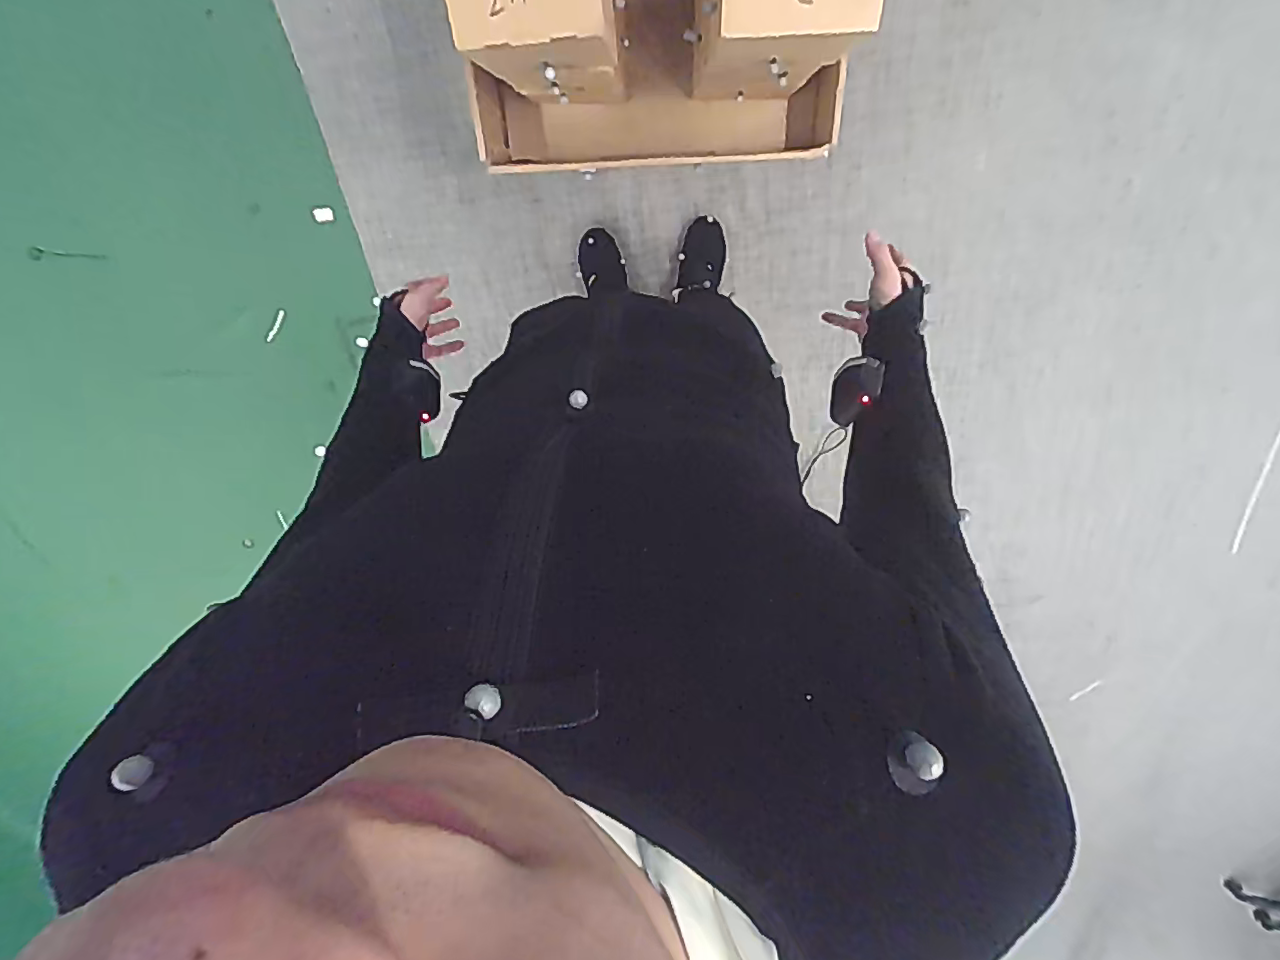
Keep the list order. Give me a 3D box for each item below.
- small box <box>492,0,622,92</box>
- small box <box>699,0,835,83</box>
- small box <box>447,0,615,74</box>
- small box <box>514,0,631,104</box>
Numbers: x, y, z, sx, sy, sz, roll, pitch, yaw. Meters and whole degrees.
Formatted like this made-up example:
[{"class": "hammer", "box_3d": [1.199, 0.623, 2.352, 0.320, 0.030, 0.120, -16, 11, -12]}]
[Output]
[{"class": "small box", "box_3d": [-0.115, -0.665, 0.756, 0.168, 0.176, 0.179, 1, 118, 3]}, {"class": "small box", "box_3d": [0.168, -0.659, 0.737, 0.168, 0.176, 0.179, 1, 117, 3]}, {"class": "small box", "box_3d": [-0.120, -0.586, 0.613, 0.168, 0.176, 0.179, 0, 119, 4]}, {"class": "small box", "box_3d": [-0.109, -0.738, 0.903, 0.179, 0.176, 0.168, 2, 118, 2]}]
